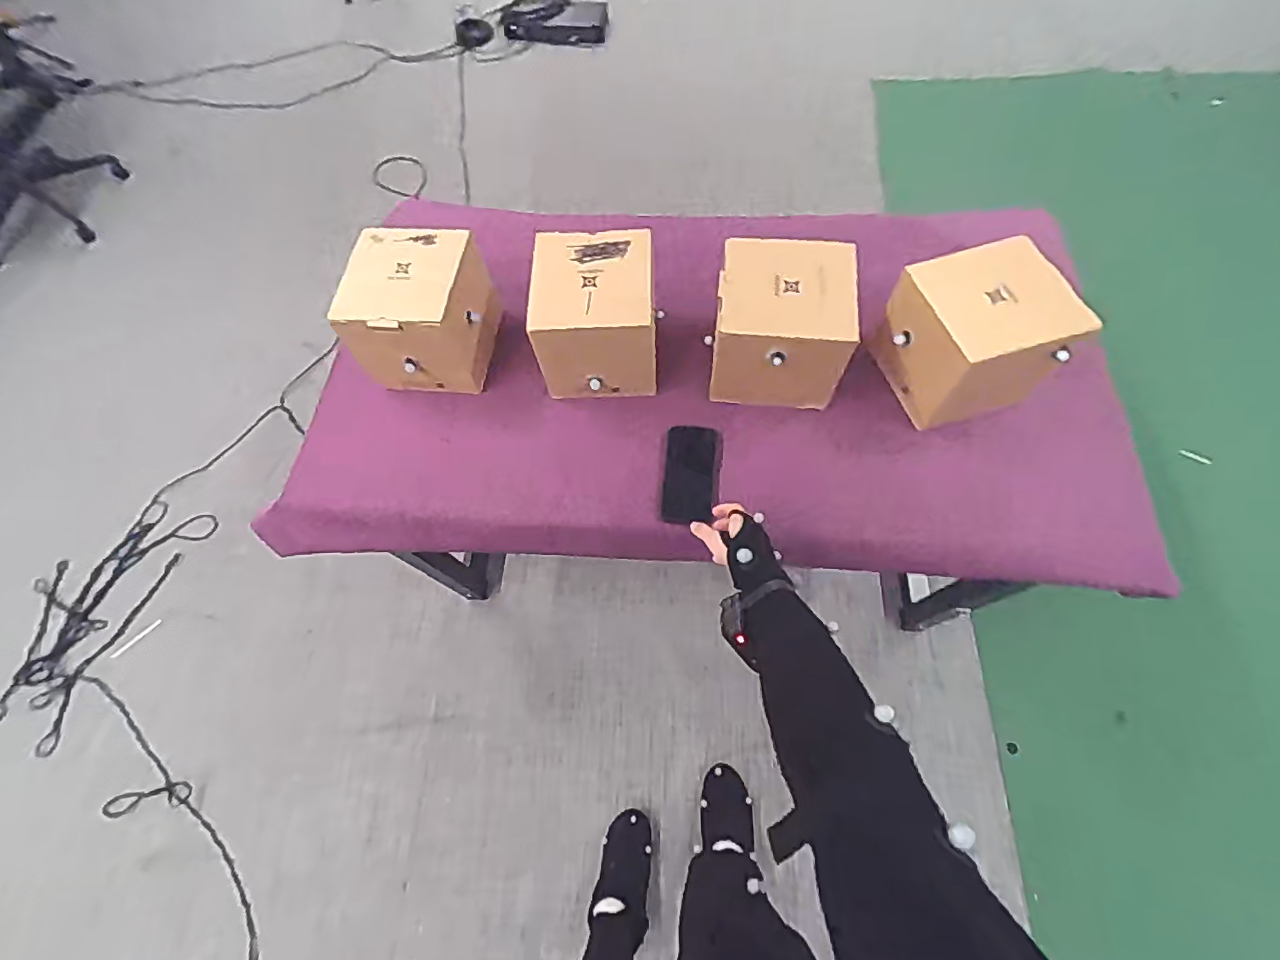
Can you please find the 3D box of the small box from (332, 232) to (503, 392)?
[{"bbox_3d":[-0.325,-0.252,0.832,0.168,0.176,0.179,4,66,6],"label":"small box"}]

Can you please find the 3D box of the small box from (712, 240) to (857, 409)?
[{"bbox_3d":[0.199,-0.217,0.777,0.179,0.176,0.168,6,66,7],"label":"small box"}]

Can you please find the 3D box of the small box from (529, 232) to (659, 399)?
[{"bbox_3d":[-0.058,-0.239,0.806,0.168,0.176,0.179,-1,66,4],"label":"small box"}]

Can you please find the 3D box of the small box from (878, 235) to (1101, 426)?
[{"bbox_3d":[0.455,-0.196,0.747,0.179,0.176,0.168,-16,64,-4],"label":"small box"}]
